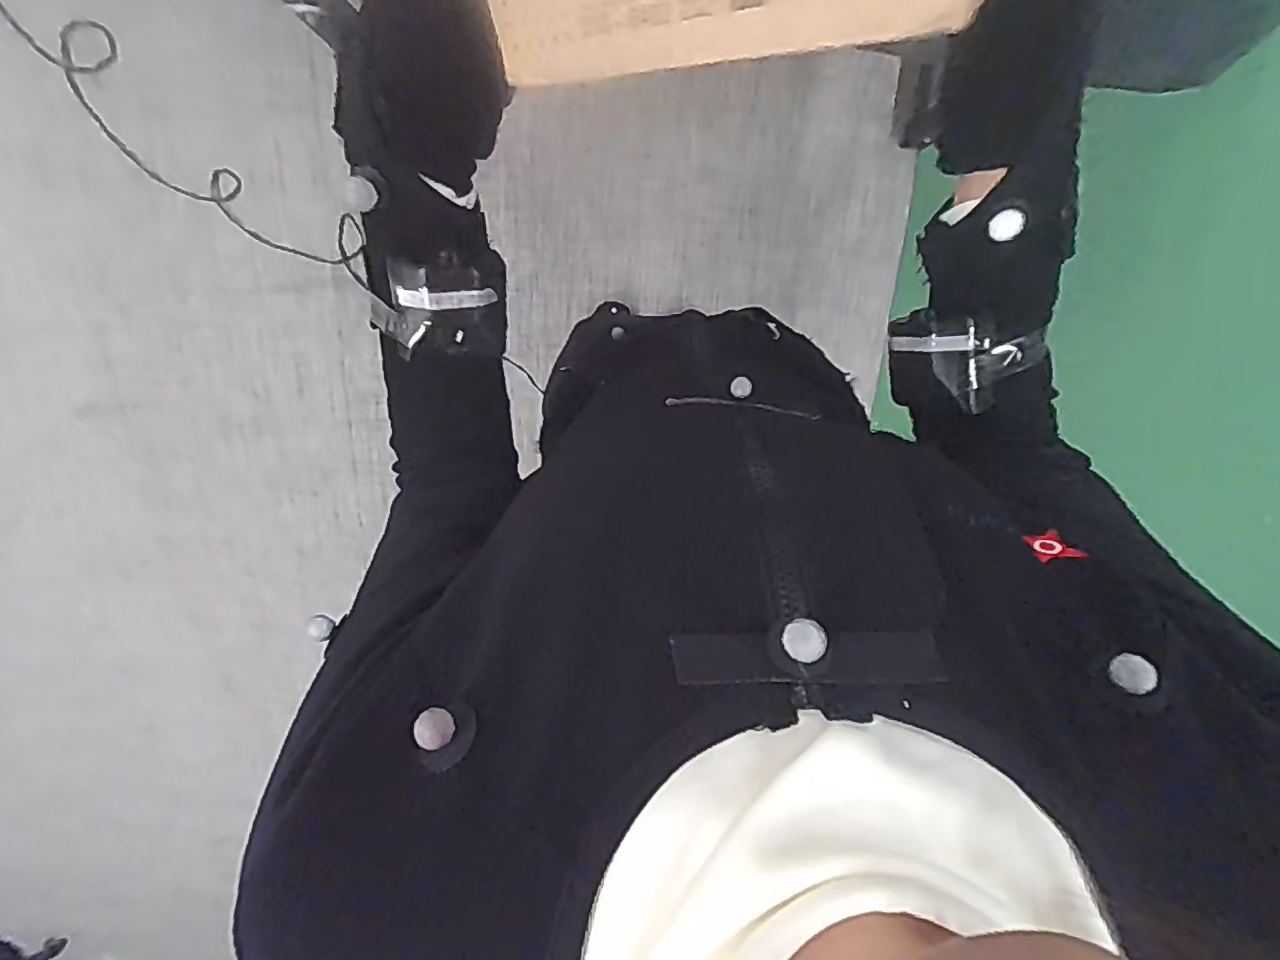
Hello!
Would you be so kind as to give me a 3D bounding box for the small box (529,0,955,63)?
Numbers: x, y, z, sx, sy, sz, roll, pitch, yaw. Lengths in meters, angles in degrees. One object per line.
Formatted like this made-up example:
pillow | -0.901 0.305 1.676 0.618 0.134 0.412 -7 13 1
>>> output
small box | 0.047 -0.269 0.192 0.168 0.179 0.176 13 139 25
